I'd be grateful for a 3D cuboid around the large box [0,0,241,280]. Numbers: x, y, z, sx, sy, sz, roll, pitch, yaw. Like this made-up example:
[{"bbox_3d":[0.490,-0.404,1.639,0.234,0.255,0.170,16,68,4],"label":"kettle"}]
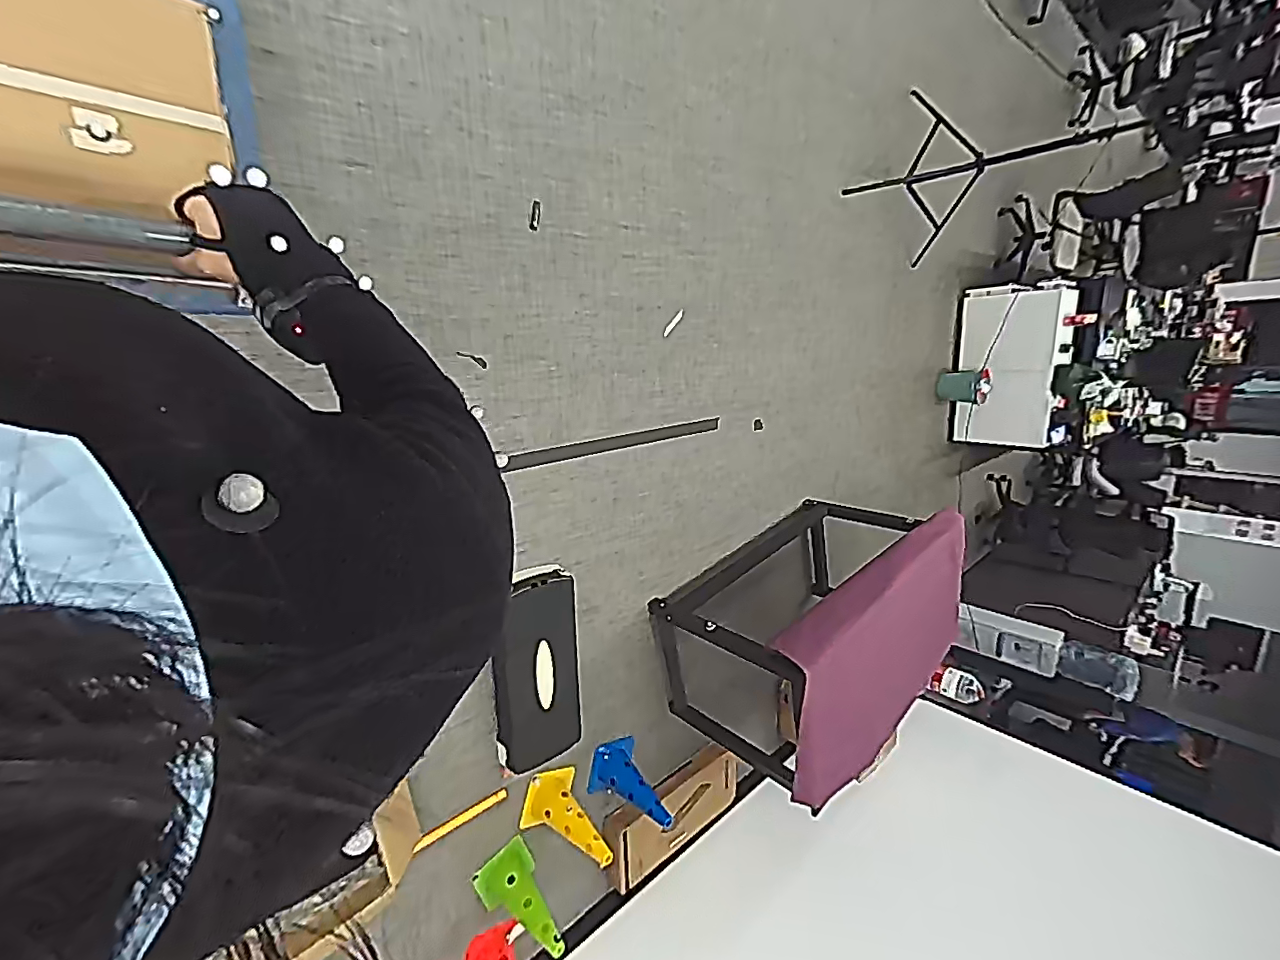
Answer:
[{"bbox_3d":[-0.846,-0.482,0.759,0.408,0.320,0.320,-10,104,-41],"label":"large box"}]
